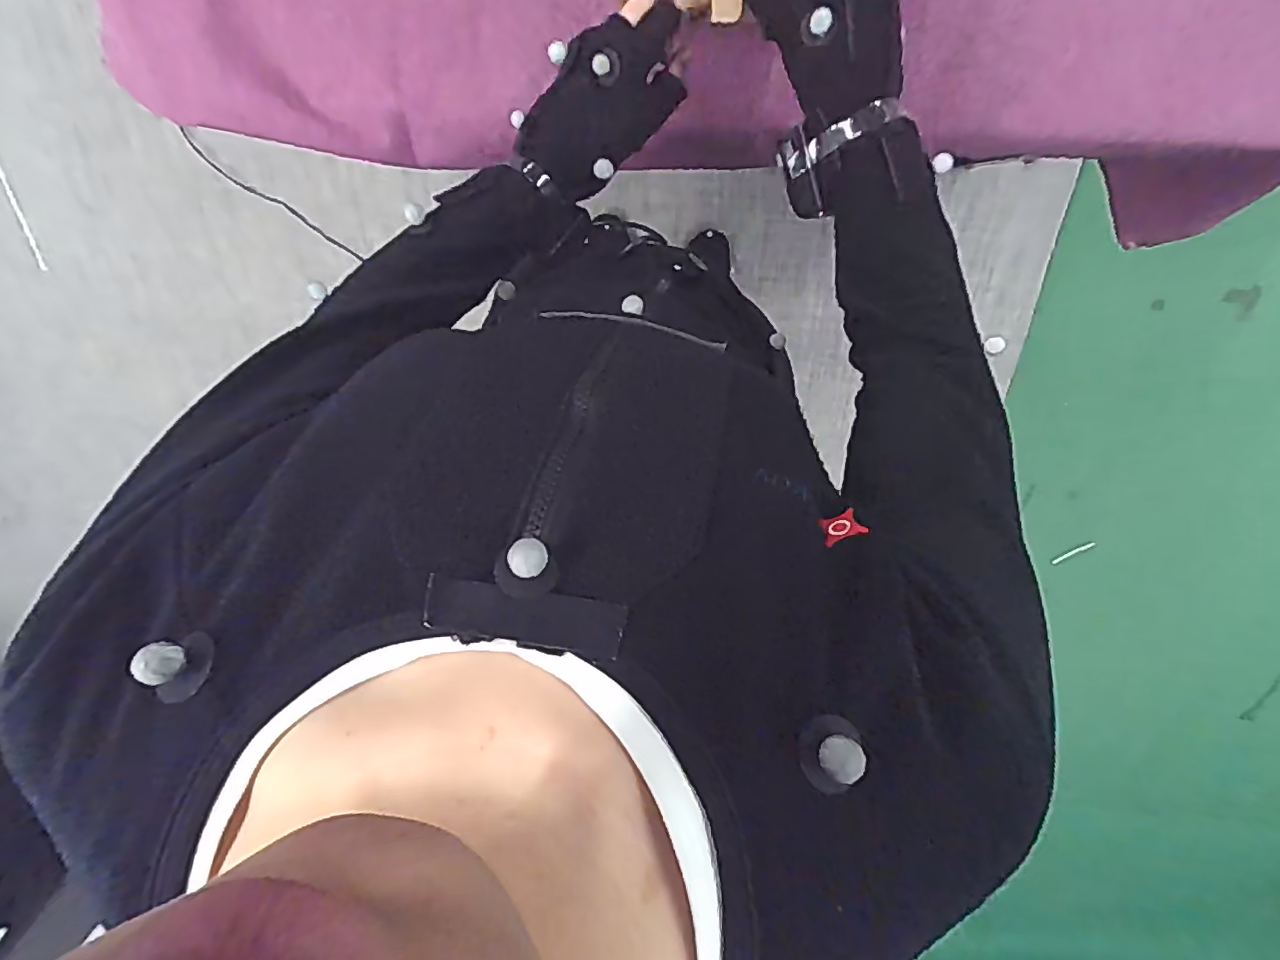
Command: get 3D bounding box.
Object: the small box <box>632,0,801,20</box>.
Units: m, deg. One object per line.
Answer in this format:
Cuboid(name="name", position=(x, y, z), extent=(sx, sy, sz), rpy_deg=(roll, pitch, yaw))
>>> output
Cuboid(name="small box", position=(0.066, -0.484, 0.412), extent=(0.168, 0.176, 0.179), rpy_deg=(4, 117, 2))
